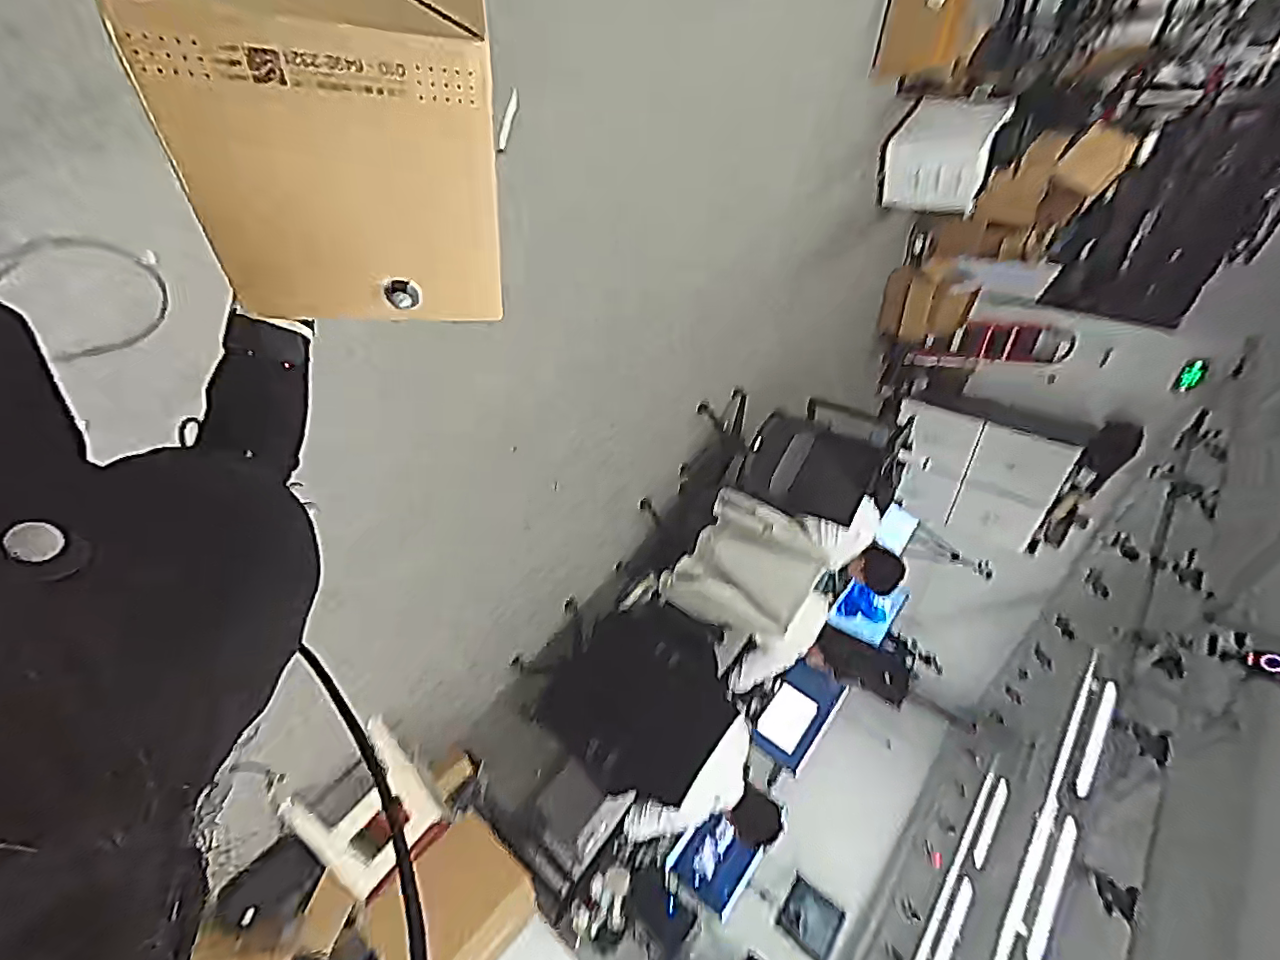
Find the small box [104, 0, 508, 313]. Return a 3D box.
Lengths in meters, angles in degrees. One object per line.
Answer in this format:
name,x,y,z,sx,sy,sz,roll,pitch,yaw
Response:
small box,-0.176,-0.230,0.345,0.168,0.179,0.176,-5,145,-15
